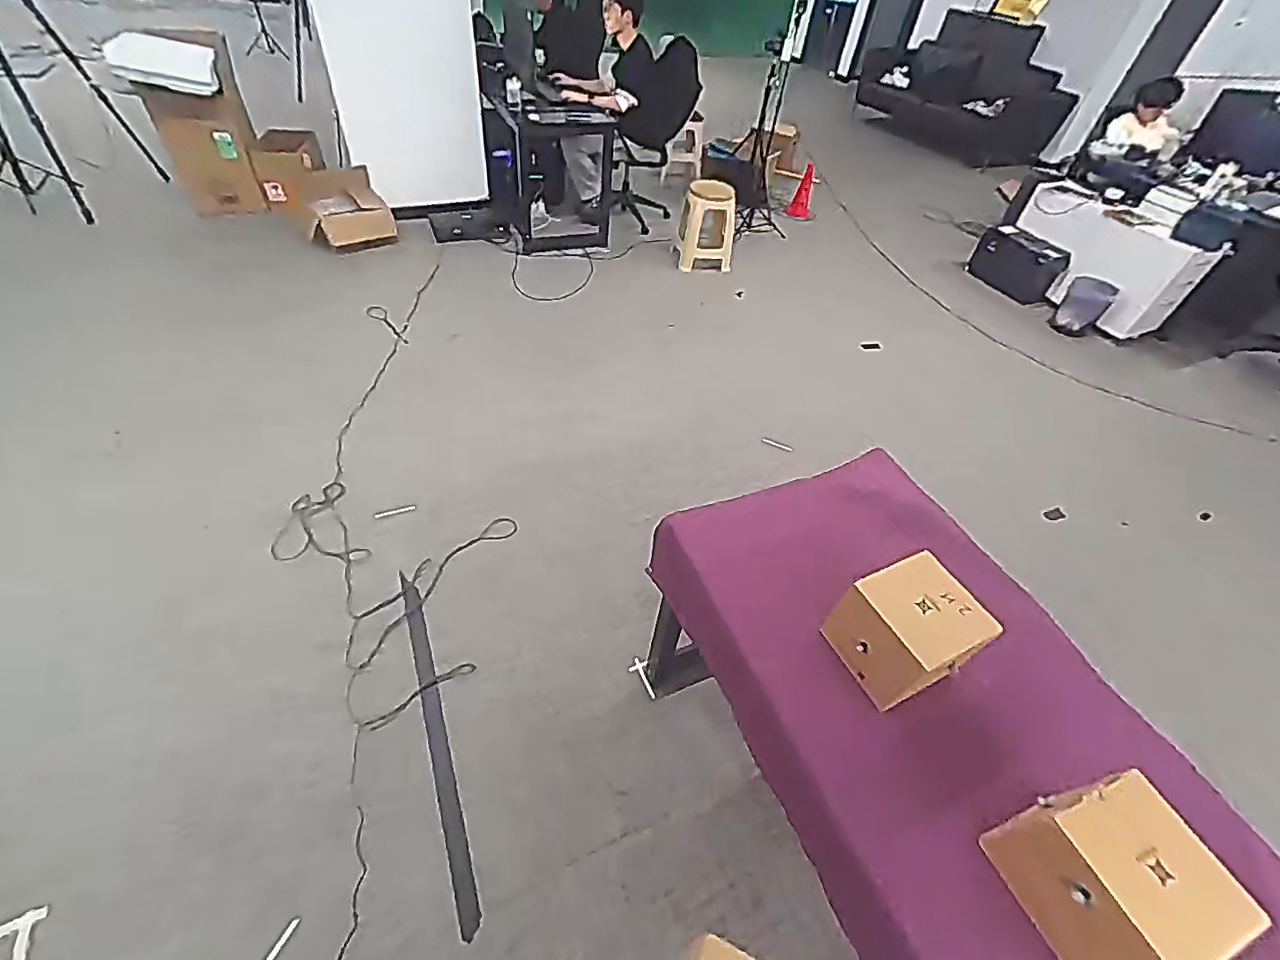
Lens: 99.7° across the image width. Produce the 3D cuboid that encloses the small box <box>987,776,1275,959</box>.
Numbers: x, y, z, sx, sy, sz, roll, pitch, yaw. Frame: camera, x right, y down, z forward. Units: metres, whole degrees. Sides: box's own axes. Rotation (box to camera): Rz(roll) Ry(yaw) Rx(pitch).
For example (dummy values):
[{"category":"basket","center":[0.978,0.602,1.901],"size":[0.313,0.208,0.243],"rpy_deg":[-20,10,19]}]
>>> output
[{"category":"small box","center":[0.609,0.521,0.698],"size":[0.168,0.176,0.179],"rpy_deg":[-12,50,-18]}]

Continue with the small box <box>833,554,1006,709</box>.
[{"category":"small box","center":[0.454,0.258,0.916],"size":[0.179,0.176,0.168],"rpy_deg":[-16,52,-21]}]
